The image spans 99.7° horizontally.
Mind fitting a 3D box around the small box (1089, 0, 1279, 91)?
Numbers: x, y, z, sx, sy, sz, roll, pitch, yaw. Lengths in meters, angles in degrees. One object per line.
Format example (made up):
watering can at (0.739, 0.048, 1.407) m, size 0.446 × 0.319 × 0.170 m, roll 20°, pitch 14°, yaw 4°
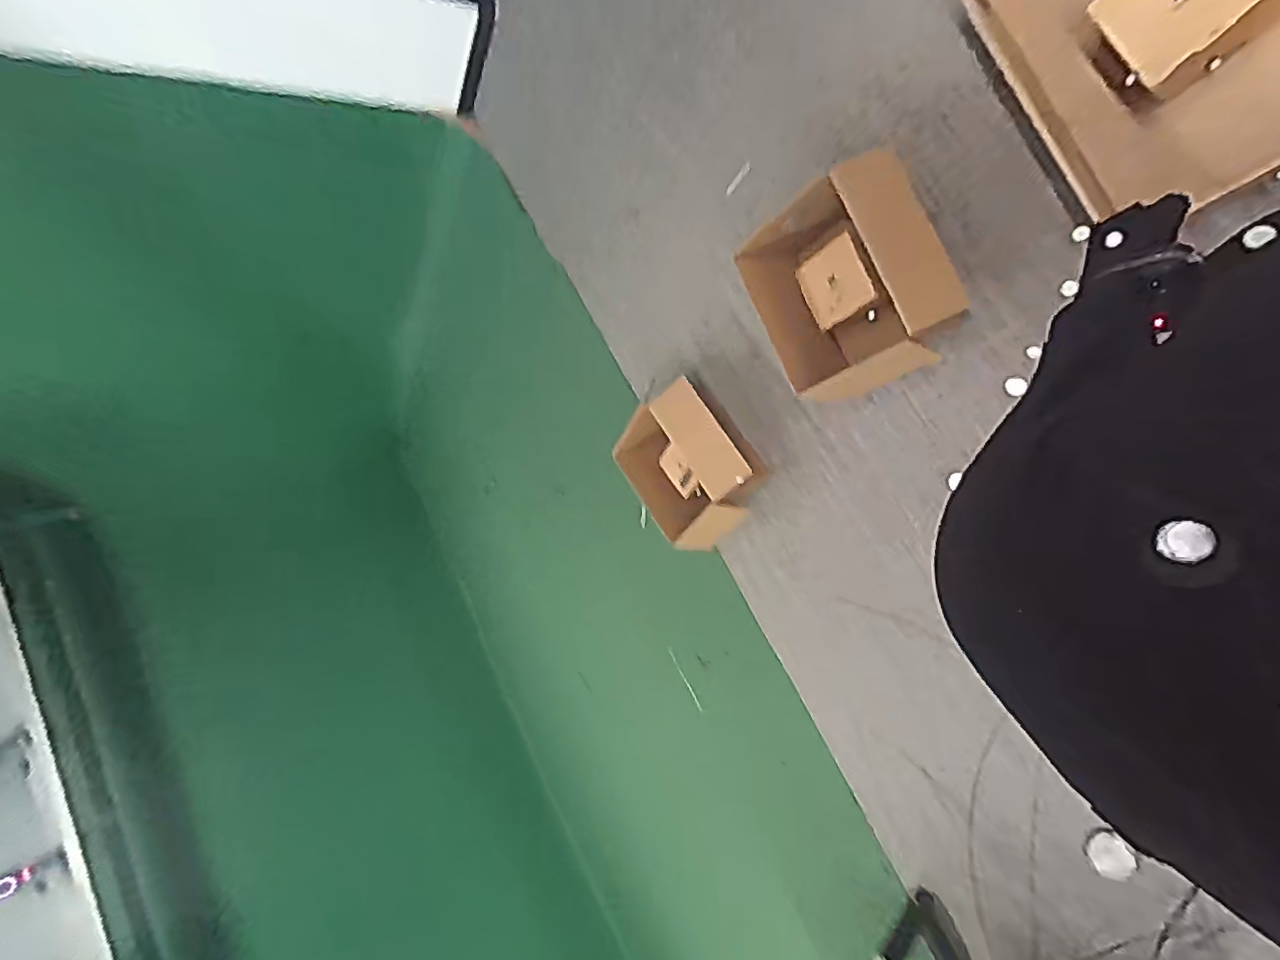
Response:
small box at (0.861, -0.756, 0.849) m, size 0.168 × 0.176 × 0.179 m, roll -39°, pitch 76°, yaw 50°
